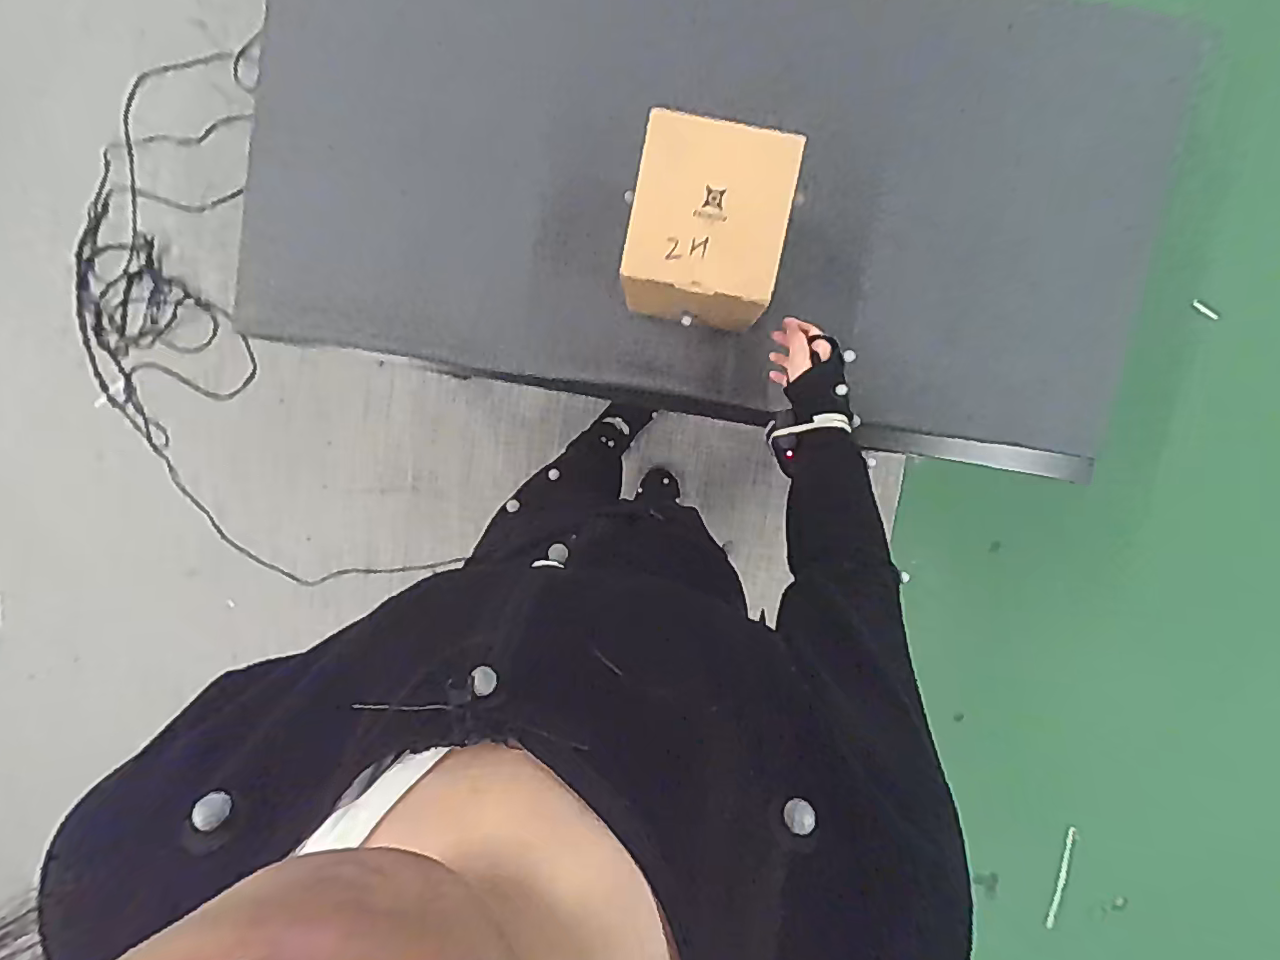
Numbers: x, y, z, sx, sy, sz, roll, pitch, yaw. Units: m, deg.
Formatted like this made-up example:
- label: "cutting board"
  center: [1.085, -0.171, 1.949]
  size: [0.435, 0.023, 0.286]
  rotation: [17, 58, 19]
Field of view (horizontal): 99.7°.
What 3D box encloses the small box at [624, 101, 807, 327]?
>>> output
- label: "small box"
  center: [0.080, -0.298, 0.643]
  size: [0.168, 0.176, 0.179]
  rotation: [11, 95, 1]
